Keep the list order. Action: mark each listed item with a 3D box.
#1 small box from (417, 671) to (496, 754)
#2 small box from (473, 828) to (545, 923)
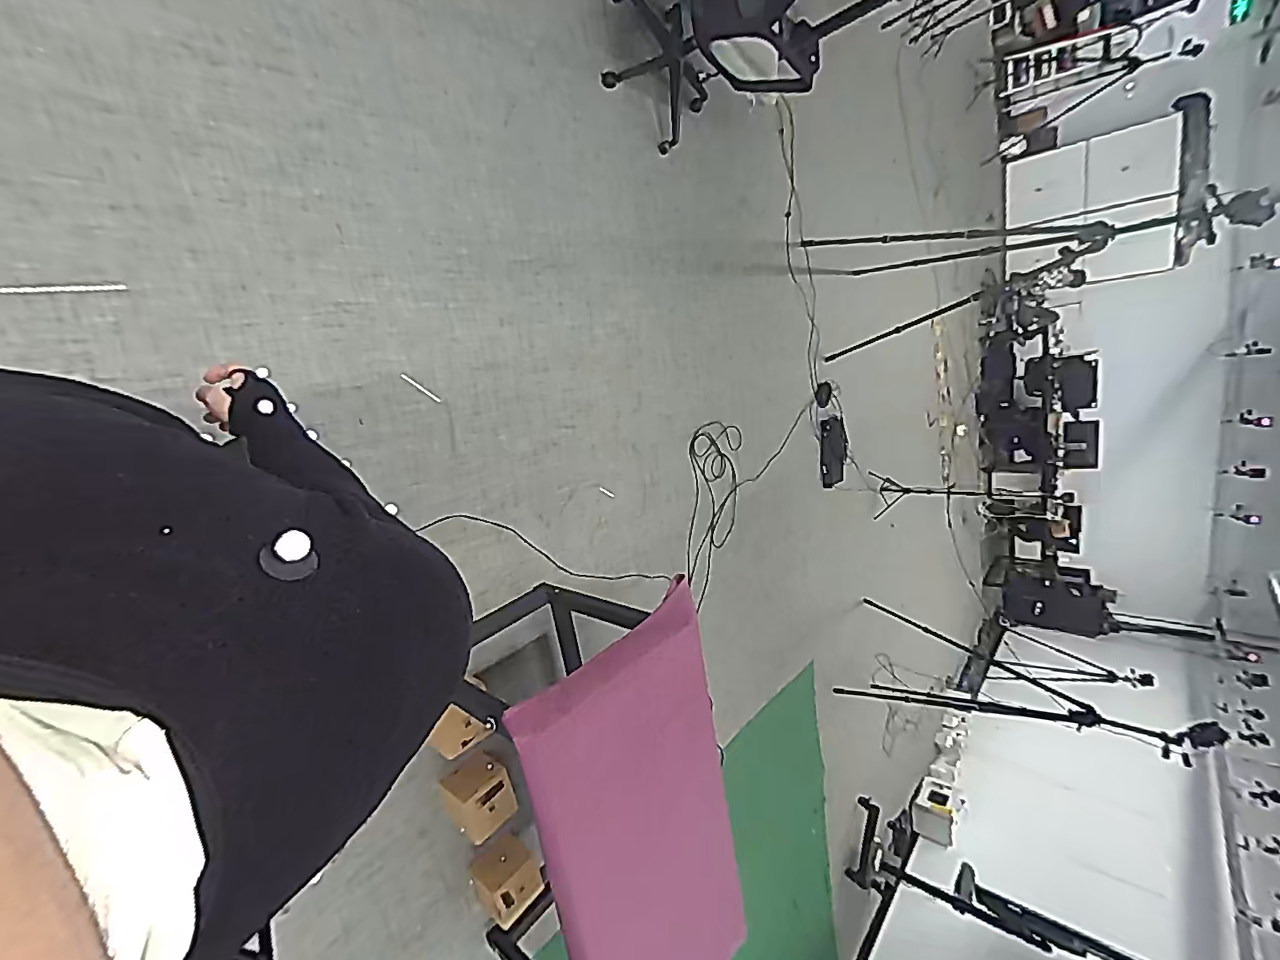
[{"bbox_3d":[-0.593,0.736,1.741,0.168,0.176,0.179,-20,106,-45],"label":"small box"},{"bbox_3d":[-0.469,1.390,1.912,0.179,0.176,0.168,-27,112,-44],"label":"small box"}]
